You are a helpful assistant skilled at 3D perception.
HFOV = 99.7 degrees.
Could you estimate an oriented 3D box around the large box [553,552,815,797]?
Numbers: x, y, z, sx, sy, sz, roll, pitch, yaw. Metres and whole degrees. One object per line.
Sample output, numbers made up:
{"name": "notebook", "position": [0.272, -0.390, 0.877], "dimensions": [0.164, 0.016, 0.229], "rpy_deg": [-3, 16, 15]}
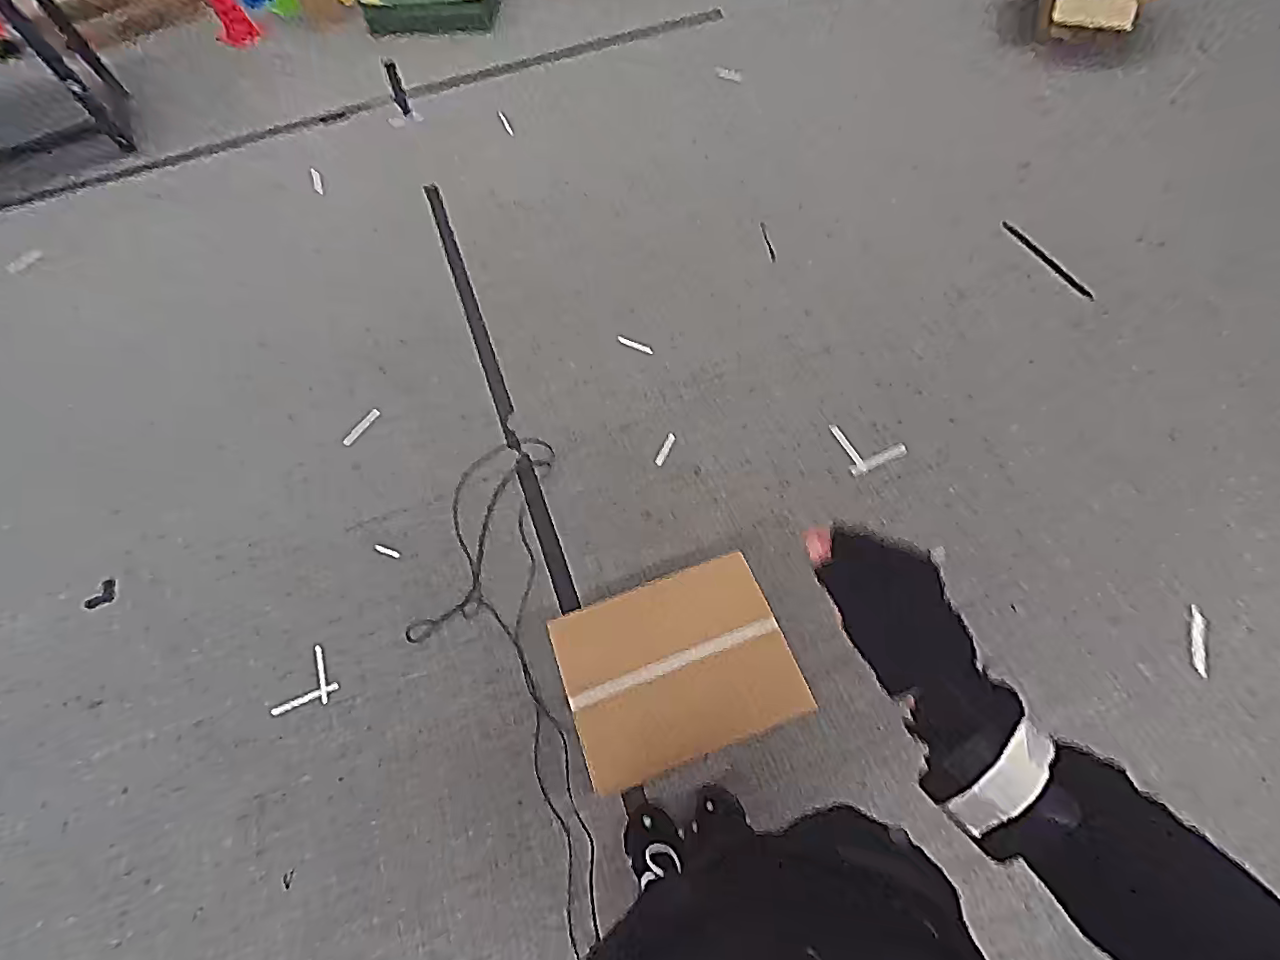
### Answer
{"name": "large box", "position": [0.078, 0.404, 1.115], "dimensions": [0.408, 0.320, 0.320], "rpy_deg": [-20, 64, -7]}
